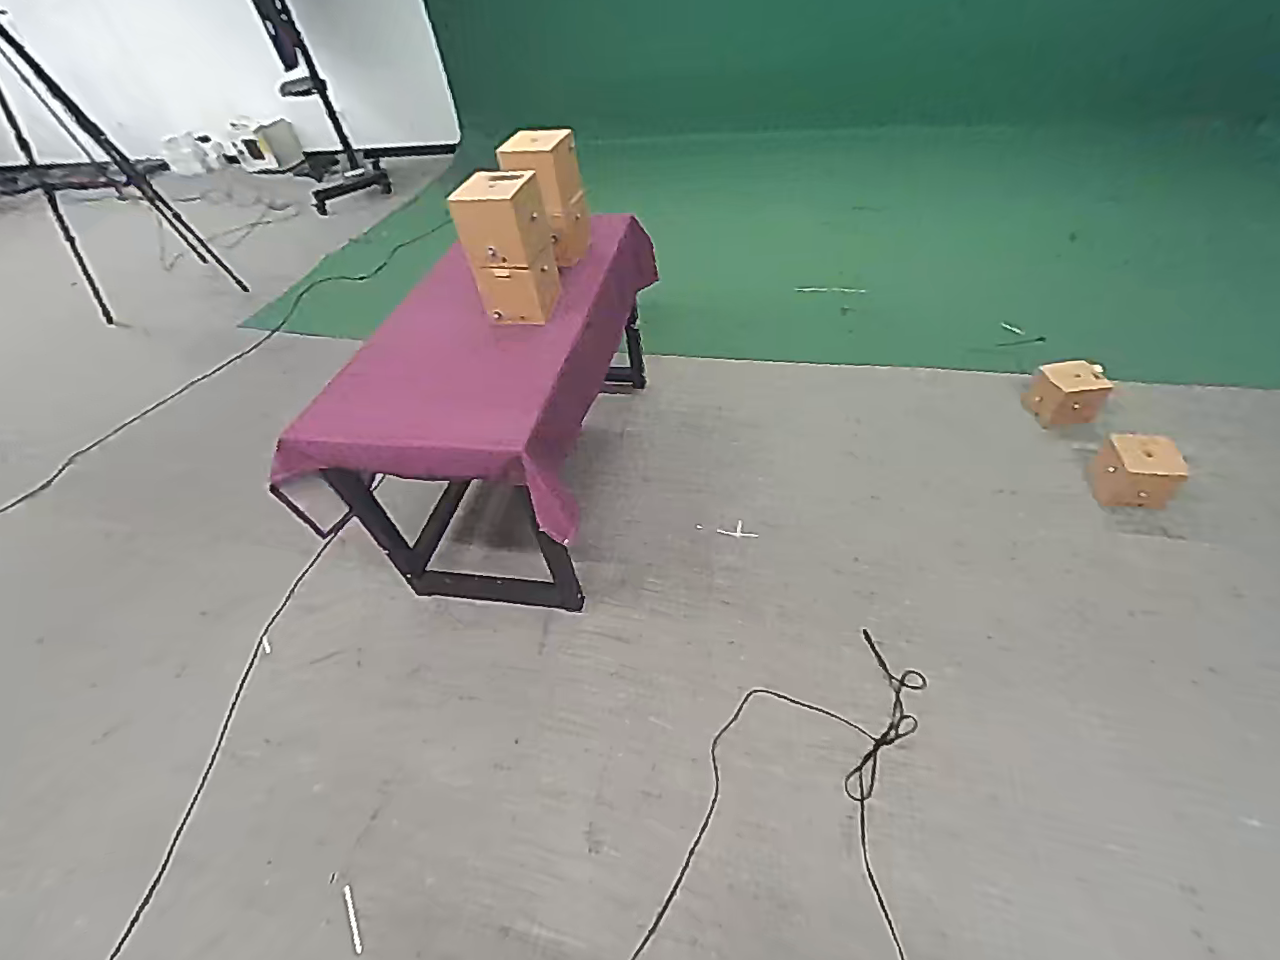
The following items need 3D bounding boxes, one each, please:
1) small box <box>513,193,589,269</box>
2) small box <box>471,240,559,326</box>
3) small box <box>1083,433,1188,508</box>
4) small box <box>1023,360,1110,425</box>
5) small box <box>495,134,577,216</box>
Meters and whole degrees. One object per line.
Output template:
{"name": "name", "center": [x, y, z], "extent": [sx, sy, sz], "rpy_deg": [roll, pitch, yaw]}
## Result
{"name": "small box", "center": [-0.272, -0.785, 1.709], "extent": [0.168, 0.176, 0.179], "rpy_deg": [9, 49, 15]}
{"name": "small box", "center": [-0.333, -0.538, 1.488], "extent": [0.168, 0.176, 0.179], "rpy_deg": [4, 47, 12]}
{"name": "small box", "center": [1.569, -0.029, 1.726], "extent": [0.168, 0.176, 0.179], "rpy_deg": [5, 49, 12]}
{"name": "small box", "center": [1.562, -0.319, 1.999], "extent": [0.179, 0.176, 0.168], "rpy_deg": [-8, 47, 2]}
{"name": "small box", "center": [-0.295, -0.895, 1.592], "extent": [0.168, 0.176, 0.179], "rpy_deg": [7, 49, 14]}
